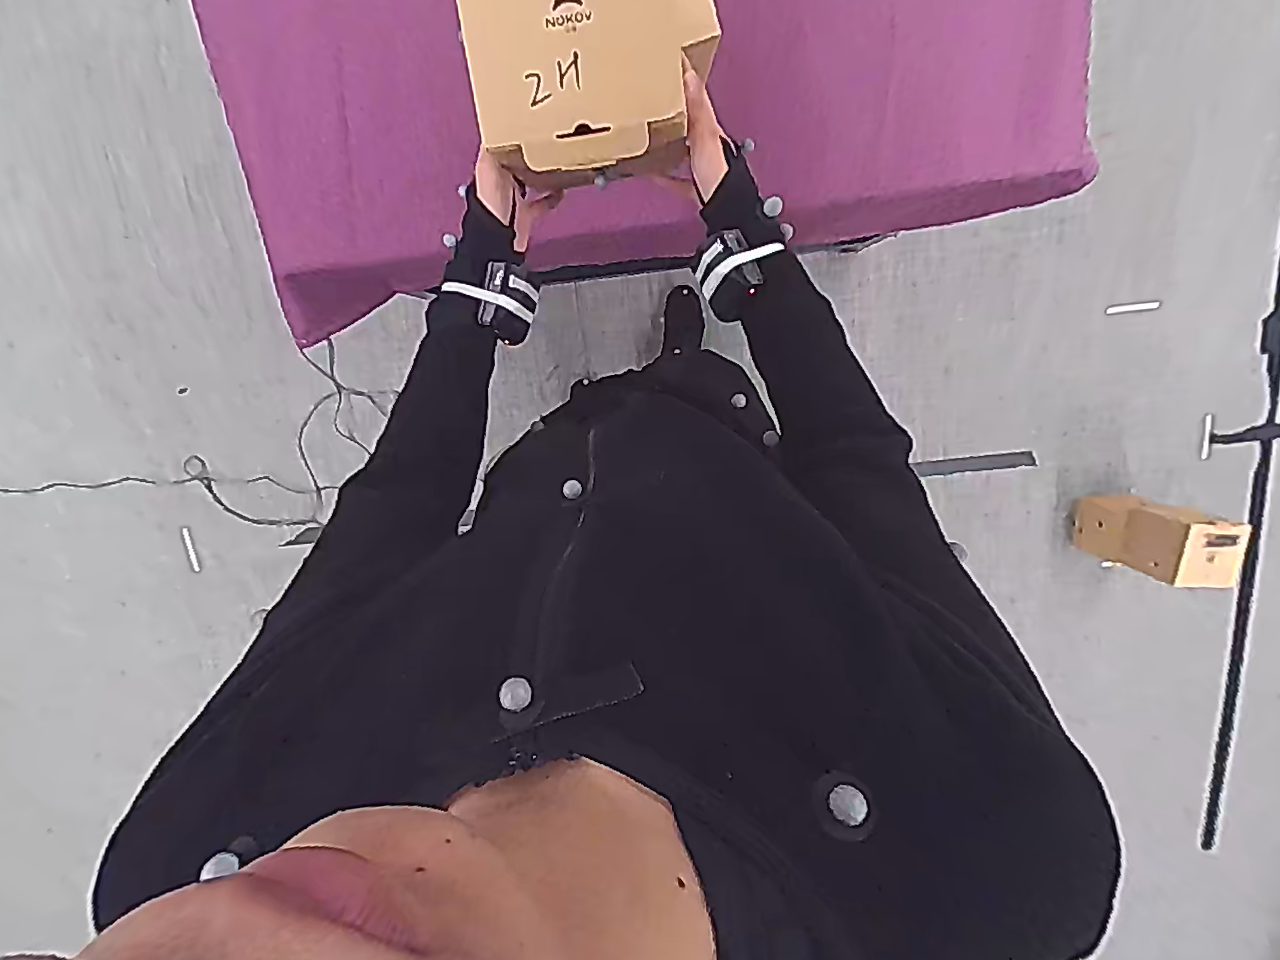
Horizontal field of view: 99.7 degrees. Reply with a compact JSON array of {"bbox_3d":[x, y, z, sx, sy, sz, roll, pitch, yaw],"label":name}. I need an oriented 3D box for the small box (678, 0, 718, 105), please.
[{"bbox_3d":[-0.019,-0.567,0.671,0.179,0.176,0.168,-18,103,1],"label":"small box"}]

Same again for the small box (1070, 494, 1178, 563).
[{"bbox_3d":[1.458,0.142,1.642,0.179,0.176,0.168,-3,103,-2],"label":"small box"}]

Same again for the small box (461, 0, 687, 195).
[{"bbox_3d":[-0.049,-0.376,0.483,0.168,0.176,0.179,-5,107,6],"label":"small box"}]
